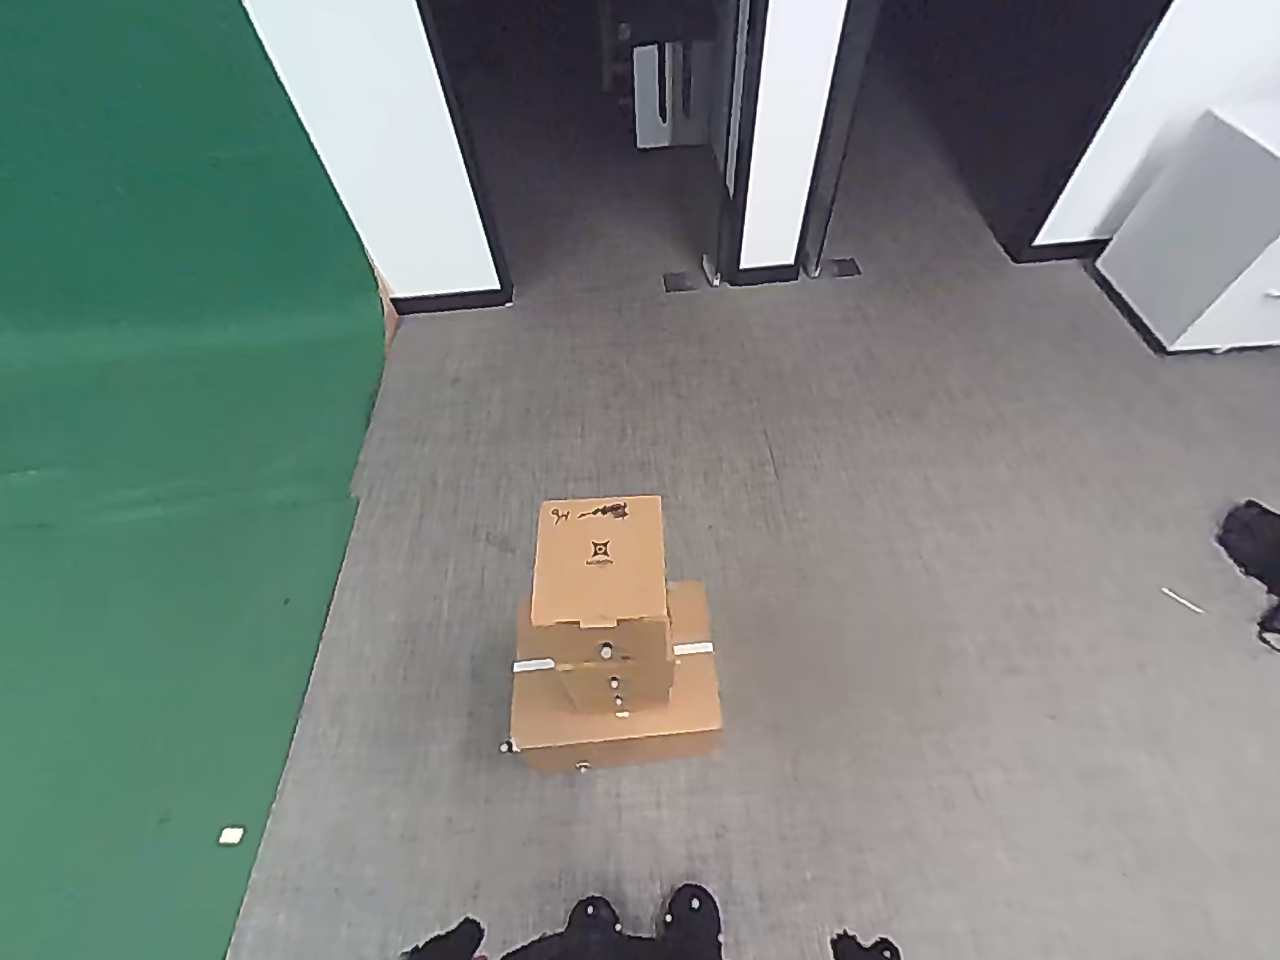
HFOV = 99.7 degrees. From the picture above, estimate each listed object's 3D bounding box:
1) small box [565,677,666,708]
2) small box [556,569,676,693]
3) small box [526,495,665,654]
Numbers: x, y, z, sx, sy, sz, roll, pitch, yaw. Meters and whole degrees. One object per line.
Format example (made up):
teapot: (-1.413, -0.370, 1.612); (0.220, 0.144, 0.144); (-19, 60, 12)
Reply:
small box: (-0.042, 0.326, 1.024); (0.179, 0.176, 0.168); (-3, 56, 0)
small box: (-0.042, 0.239, 0.885); (0.179, 0.176, 0.168); (-7, 56, -2)
small box: (-0.052, 0.139, 0.755); (0.168, 0.176, 0.179); (-3, 57, 2)
